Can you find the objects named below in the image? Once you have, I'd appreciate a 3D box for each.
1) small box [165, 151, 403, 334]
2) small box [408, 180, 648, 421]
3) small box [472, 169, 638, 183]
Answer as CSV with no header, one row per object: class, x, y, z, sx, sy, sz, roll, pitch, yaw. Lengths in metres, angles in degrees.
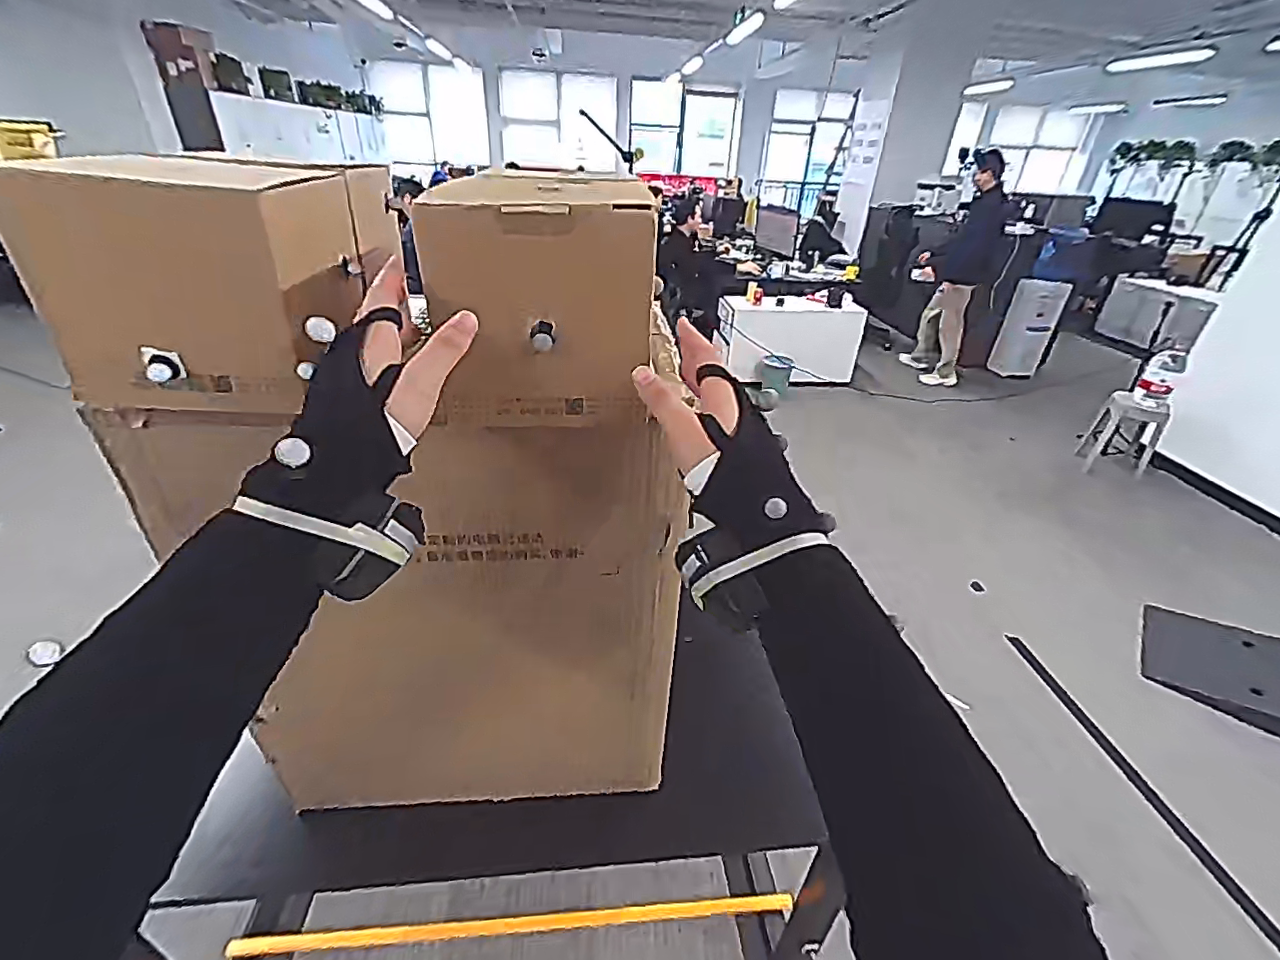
small box,-0.391,-0.279,0.636,0.168,0.176,0.179,-1,30,-8
small box,-0.079,-0.160,0.473,0.168,0.176,0.179,-1,33,-4
small box,-0.096,-0.267,0.642,0.168,0.176,0.179,-3,31,-8
